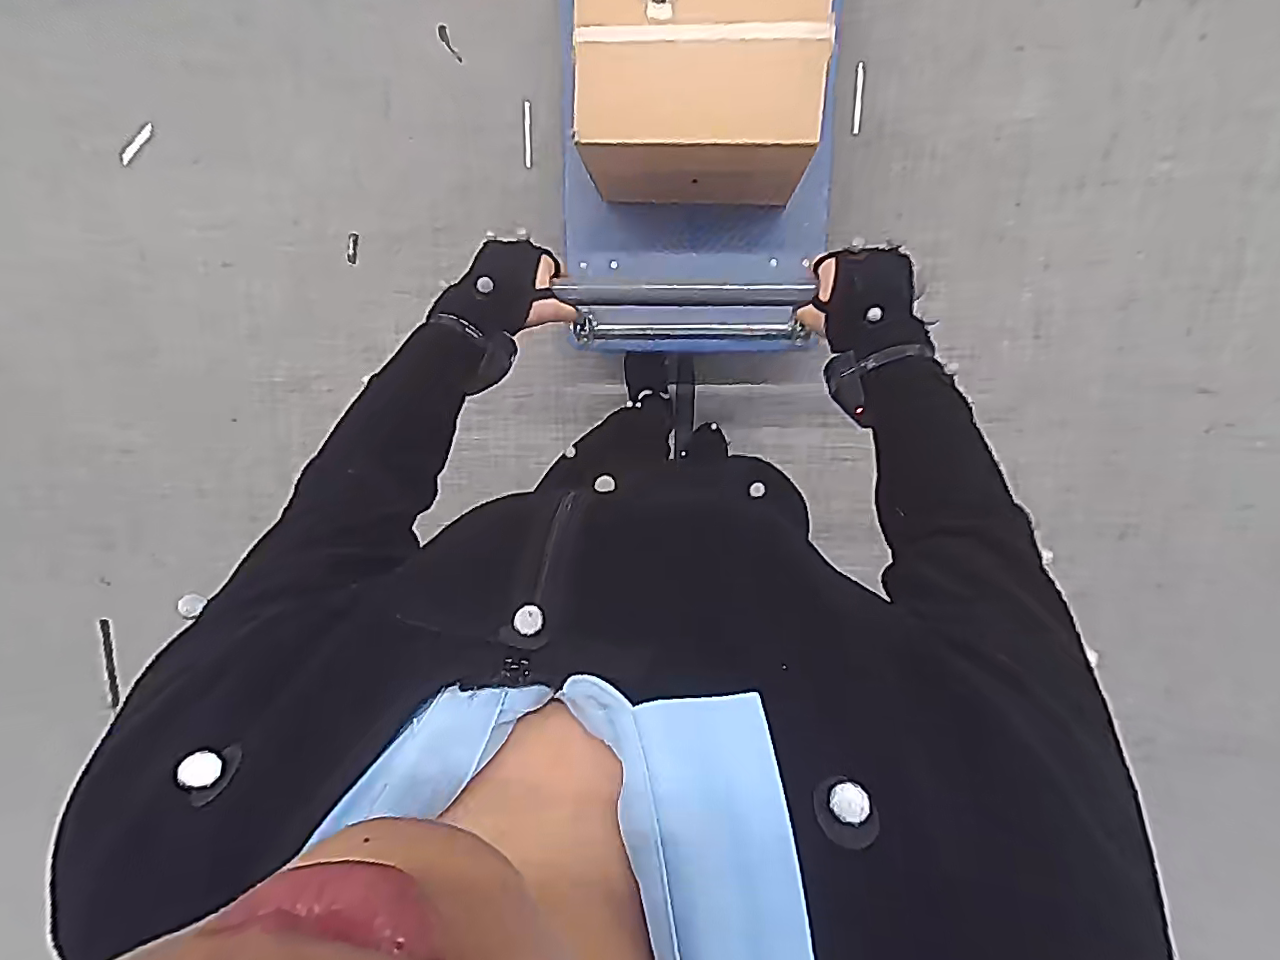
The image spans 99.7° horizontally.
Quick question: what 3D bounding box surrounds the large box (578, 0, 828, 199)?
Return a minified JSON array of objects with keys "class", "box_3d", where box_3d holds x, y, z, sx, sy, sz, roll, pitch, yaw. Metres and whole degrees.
[{"class":"large box","box_3d":[0.114,-0.740,1.016,0.408,0.320,0.320,3,100,6]}]
